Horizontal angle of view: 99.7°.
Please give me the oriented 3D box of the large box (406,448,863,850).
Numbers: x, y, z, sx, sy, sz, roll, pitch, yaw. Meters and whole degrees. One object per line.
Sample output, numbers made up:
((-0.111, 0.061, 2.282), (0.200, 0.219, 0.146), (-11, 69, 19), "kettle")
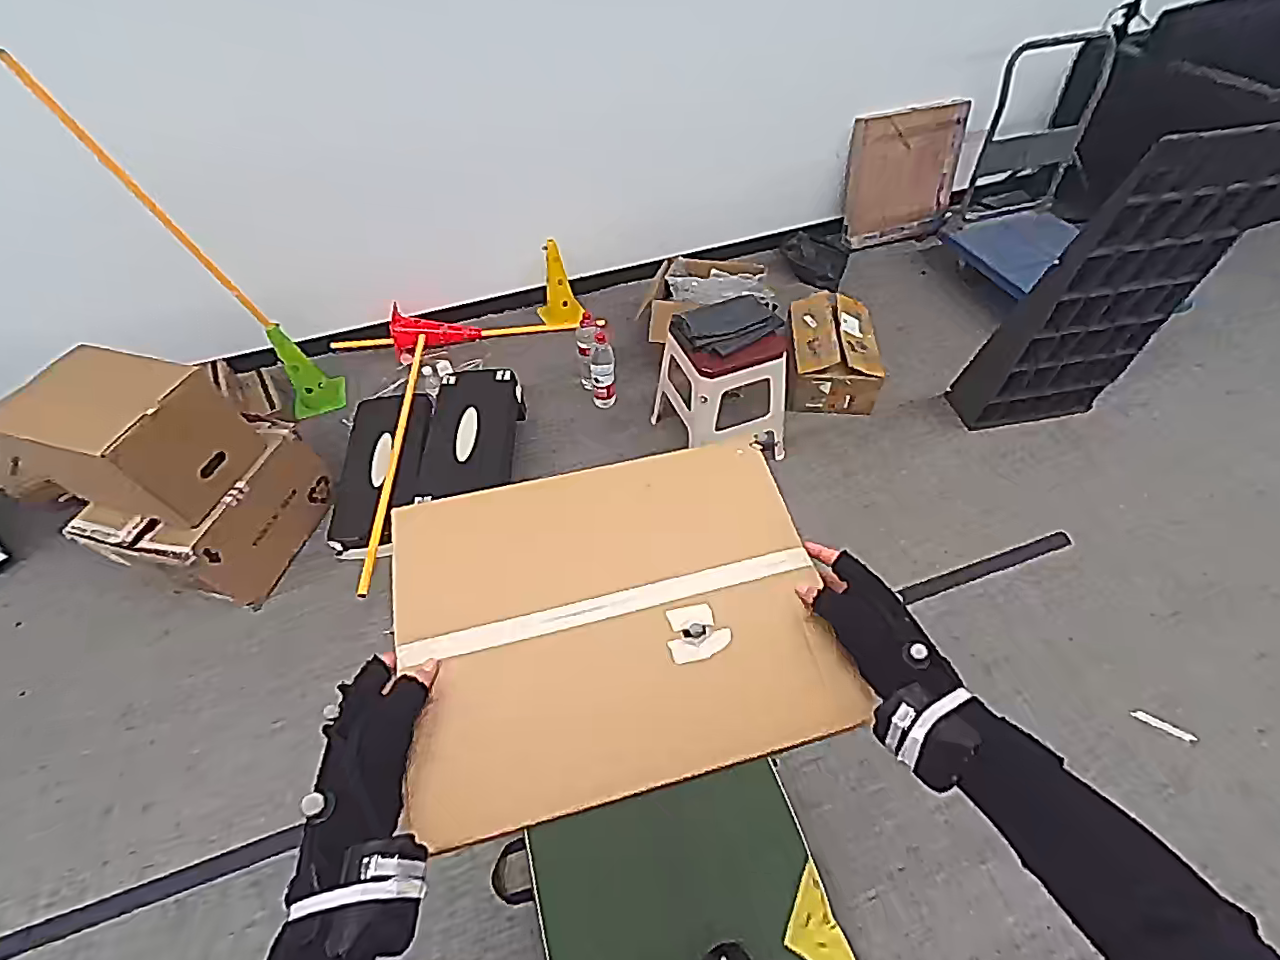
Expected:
((-0.027, 0.207, 0.666), (0.408, 0.320, 0.320), (-12, 61, -10), "large box")
